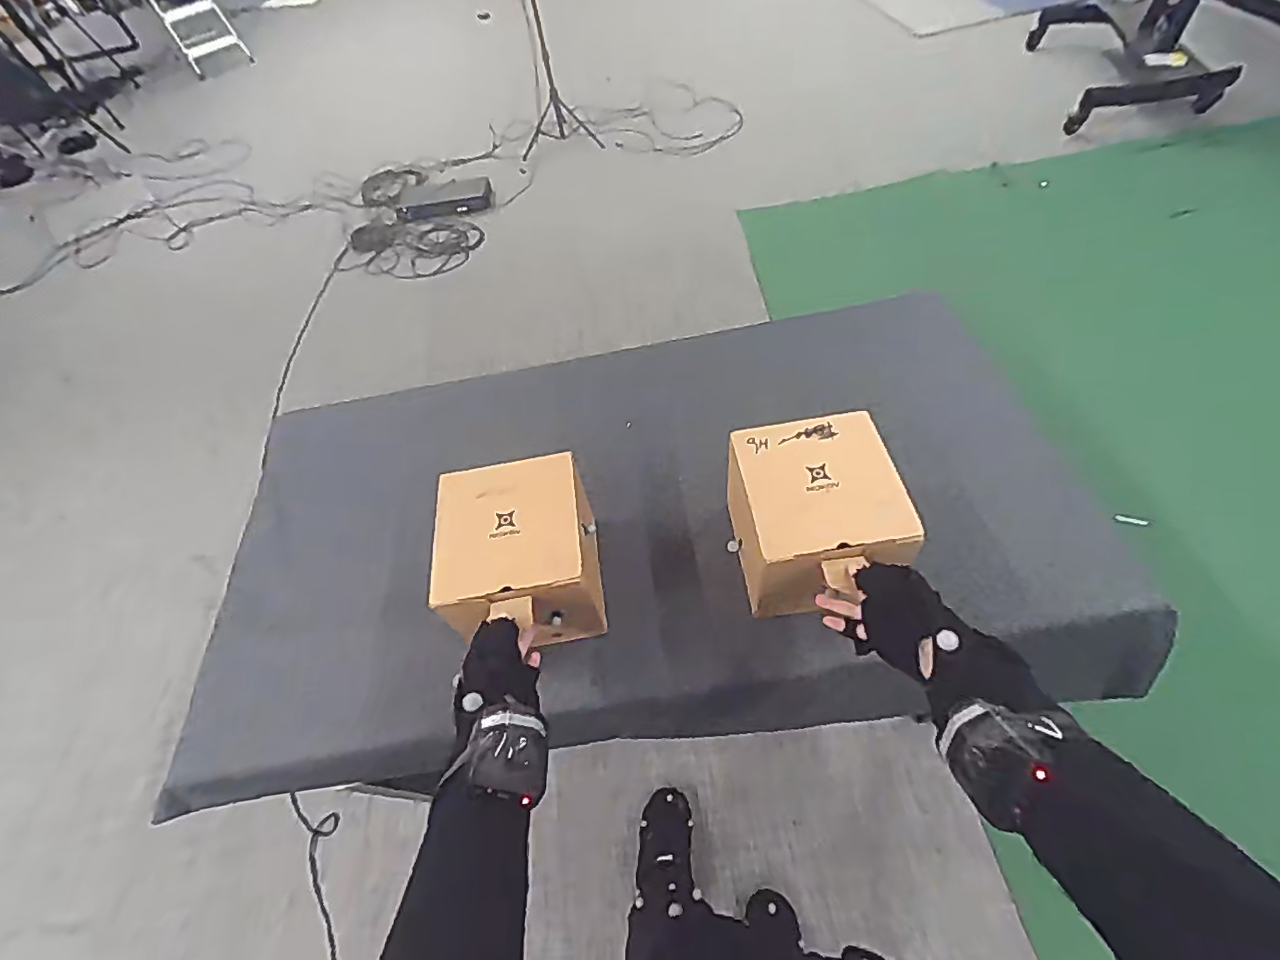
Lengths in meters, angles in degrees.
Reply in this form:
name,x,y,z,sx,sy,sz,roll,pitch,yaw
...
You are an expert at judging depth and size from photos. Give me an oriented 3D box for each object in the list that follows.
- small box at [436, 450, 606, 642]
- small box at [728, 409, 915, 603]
name,x,y,z,sx,sy,sz,roll,pitch,yaw
small box,-0.141,0.091,0.685,0.168,0.176,0.179,-10,53,-1
small box,0.206,0.042,0.670,0.168,0.176,0.179,-9,56,2
